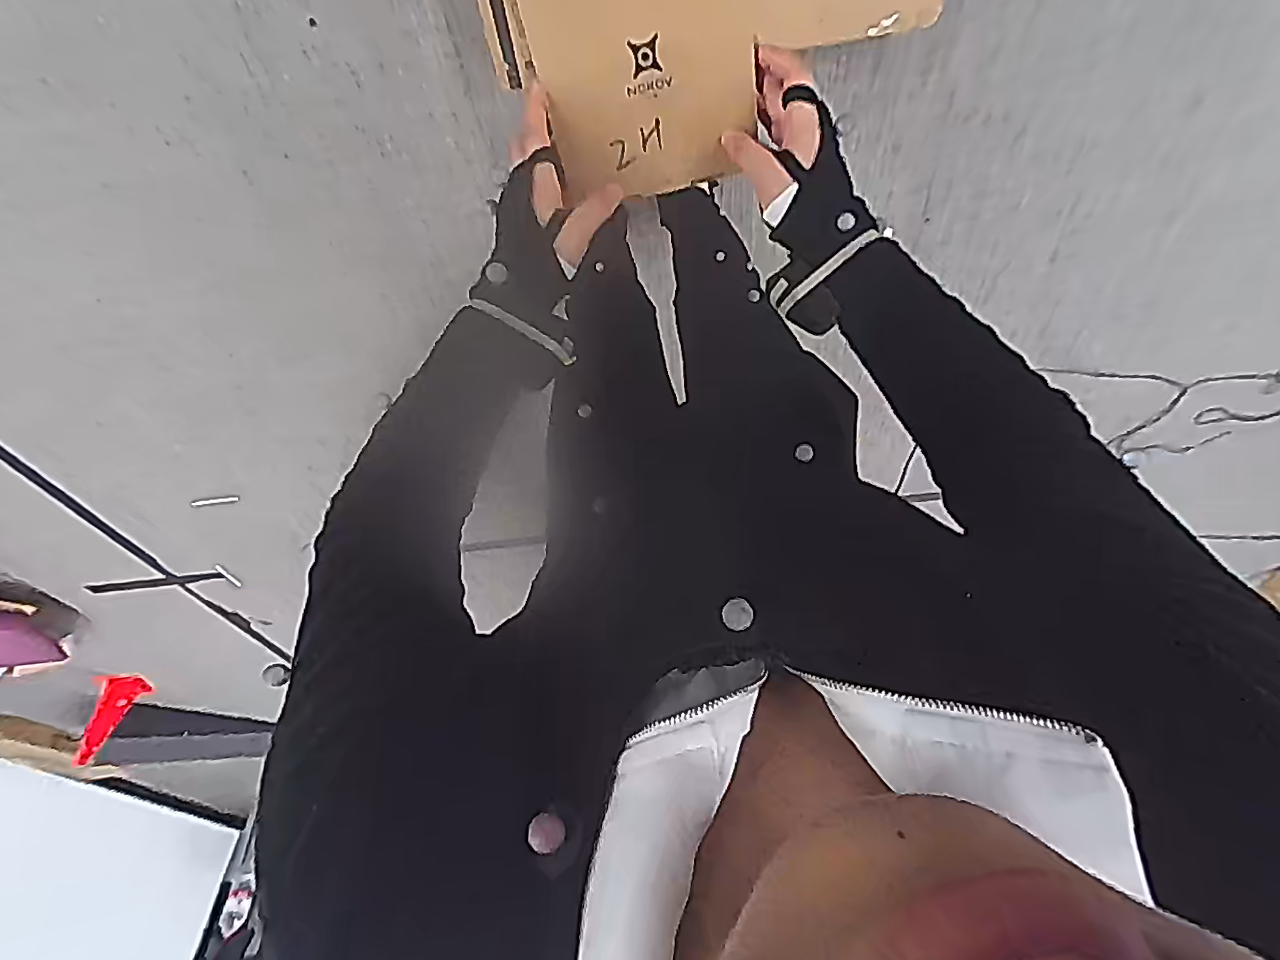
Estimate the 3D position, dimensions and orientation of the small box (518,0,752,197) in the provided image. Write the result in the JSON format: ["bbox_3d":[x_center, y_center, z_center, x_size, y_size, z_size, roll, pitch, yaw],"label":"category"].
[{"bbox_3d":[-0.003,-0.381,0.470,0.168,0.176,0.179,-10,136,7],"label":"small box"}]
